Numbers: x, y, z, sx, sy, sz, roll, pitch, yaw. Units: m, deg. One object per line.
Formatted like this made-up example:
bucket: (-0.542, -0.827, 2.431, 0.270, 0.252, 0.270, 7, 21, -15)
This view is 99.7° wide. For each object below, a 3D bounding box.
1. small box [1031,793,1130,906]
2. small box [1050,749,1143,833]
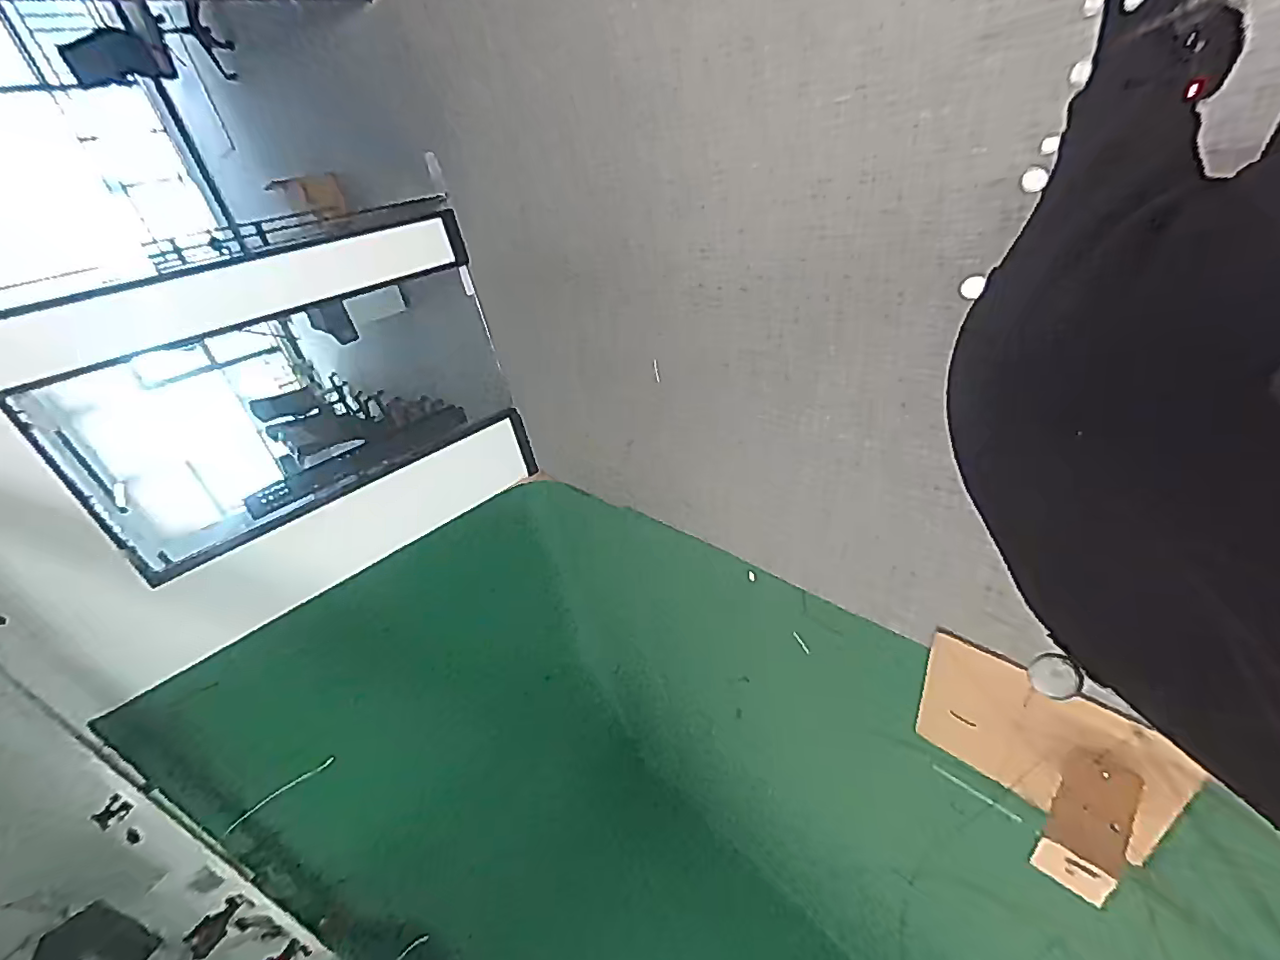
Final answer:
small box: (1.242, 1.032, 1.523, 0.168, 0.176, 0.179, 24, 137, 41)
small box: (1.357, 0.954, 1.609, 0.168, 0.176, 0.179, 22, 134, 42)
